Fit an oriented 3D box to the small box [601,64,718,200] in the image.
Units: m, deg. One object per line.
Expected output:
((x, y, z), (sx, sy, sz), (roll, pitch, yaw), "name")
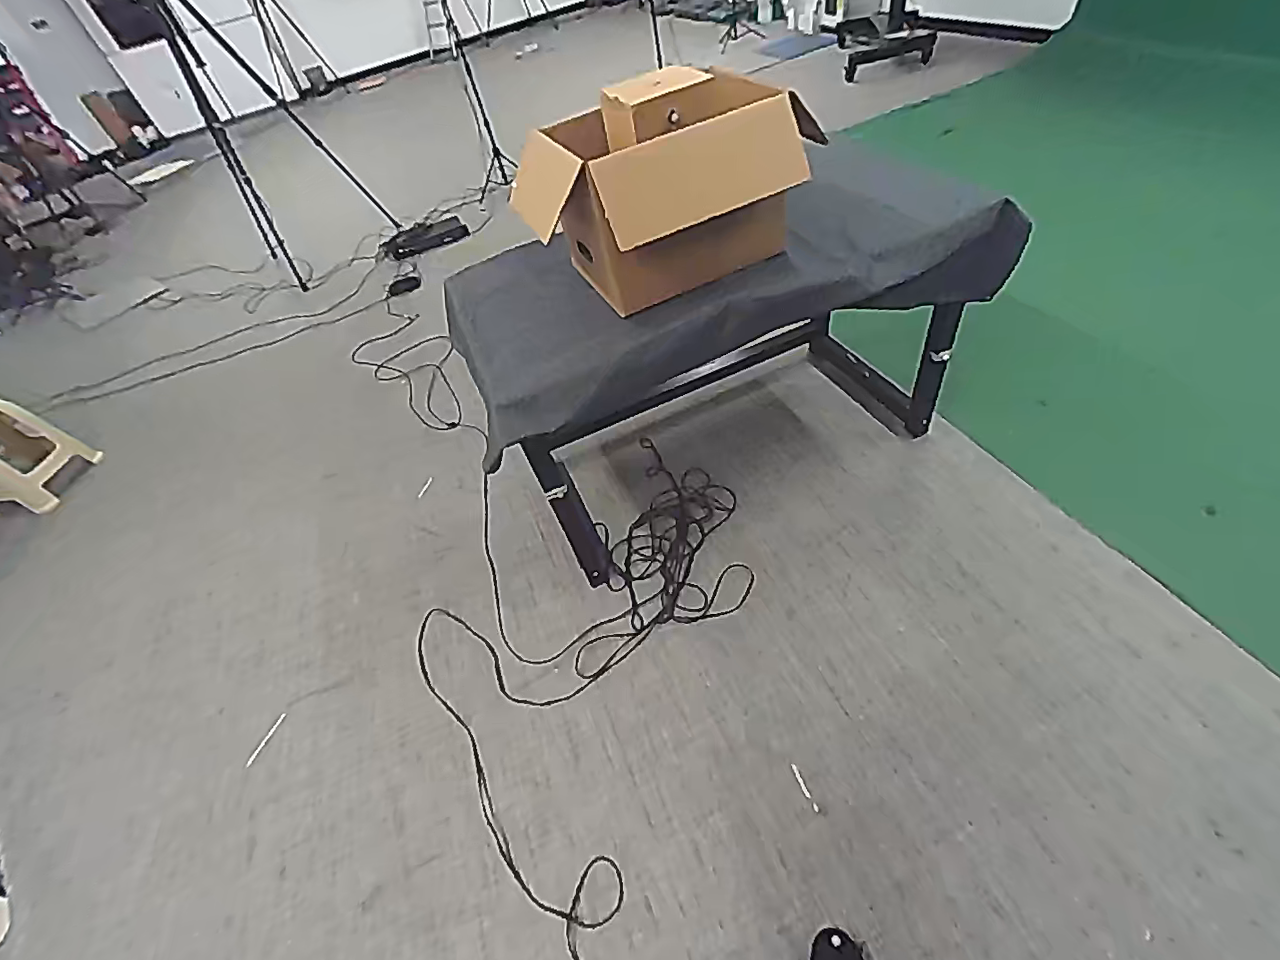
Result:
((0.043, -0.691, 1.076), (0.179, 0.176, 0.168), (-25, 48, -8), "small box")
